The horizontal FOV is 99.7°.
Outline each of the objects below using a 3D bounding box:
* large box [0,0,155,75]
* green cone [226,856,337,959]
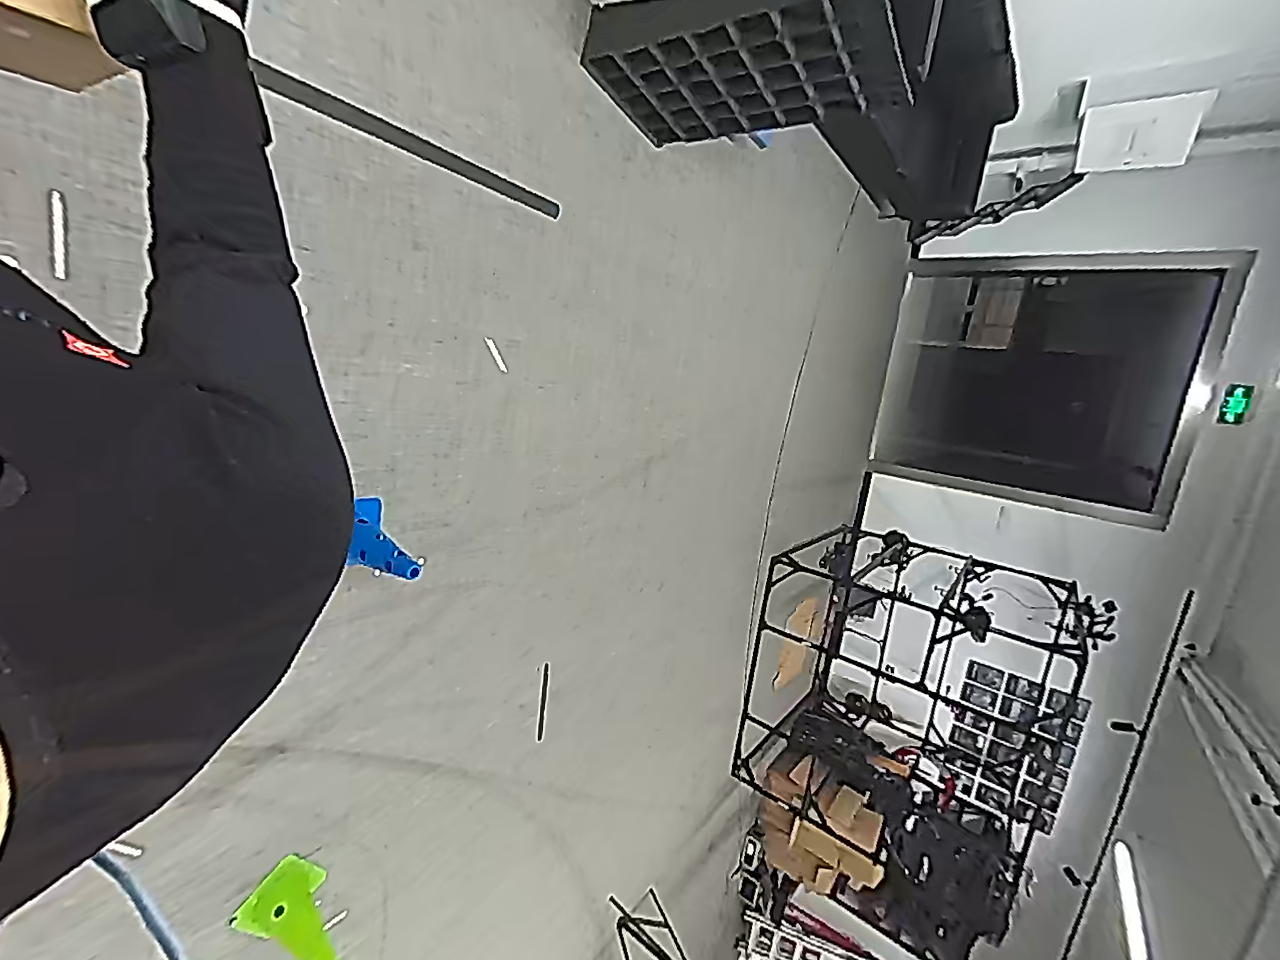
[{"bbox_3d":[-0.557,-0.478,0.269,0.408,0.320,0.320,-11,118,-52],"label":"large box"},{"bbox_3d":[-0.944,1.280,1.515,0.202,0.368,0.200,-50,139,-33],"label":"green cone"}]
